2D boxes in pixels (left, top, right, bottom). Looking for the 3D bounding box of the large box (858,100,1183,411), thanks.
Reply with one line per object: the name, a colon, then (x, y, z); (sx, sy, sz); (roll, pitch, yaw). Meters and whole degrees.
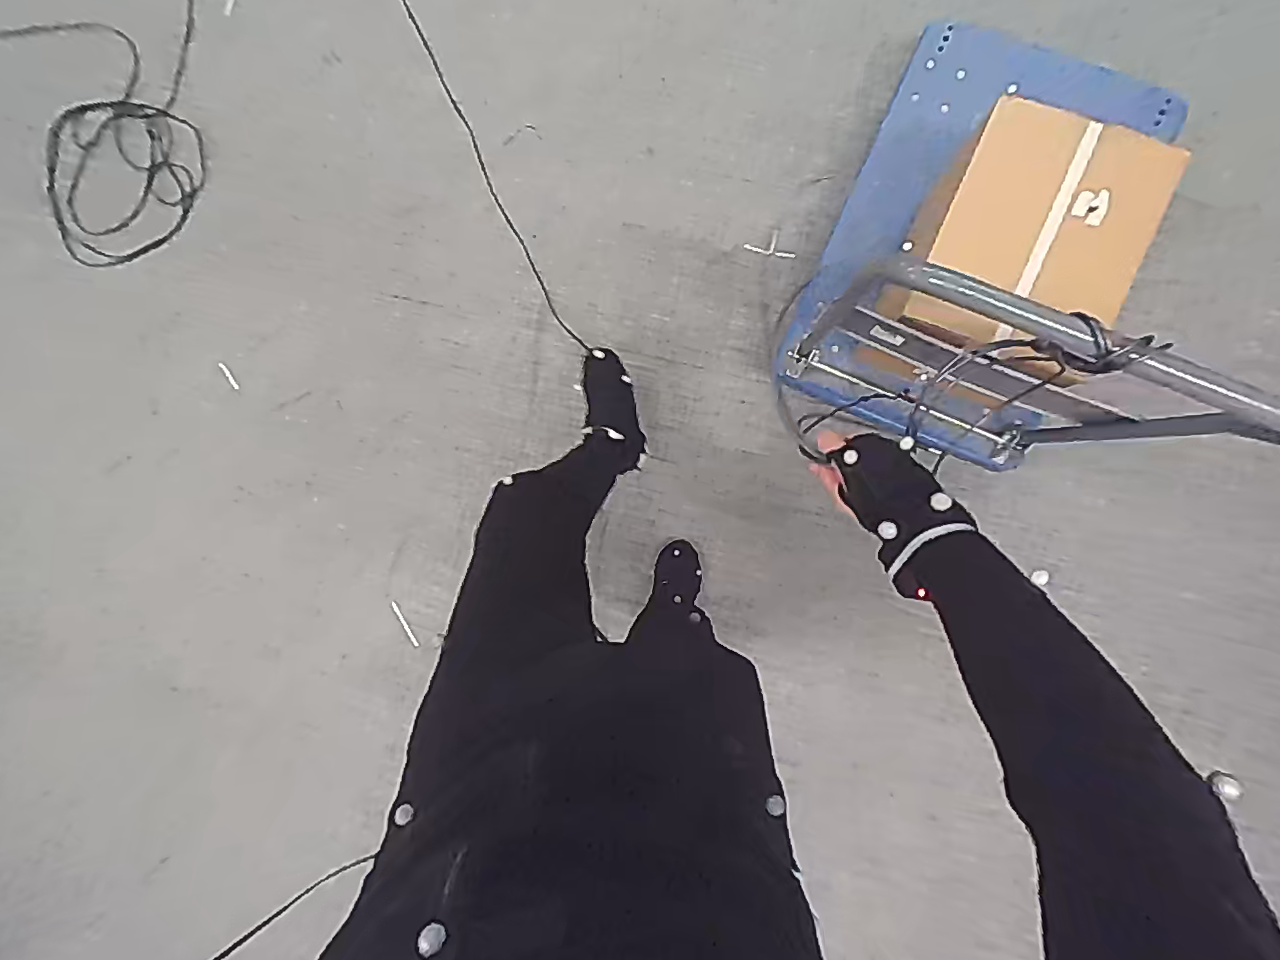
large box: (0.674, -0.389, 1.033); (0.320, 0.320, 0.408); (24, 91, 6)
